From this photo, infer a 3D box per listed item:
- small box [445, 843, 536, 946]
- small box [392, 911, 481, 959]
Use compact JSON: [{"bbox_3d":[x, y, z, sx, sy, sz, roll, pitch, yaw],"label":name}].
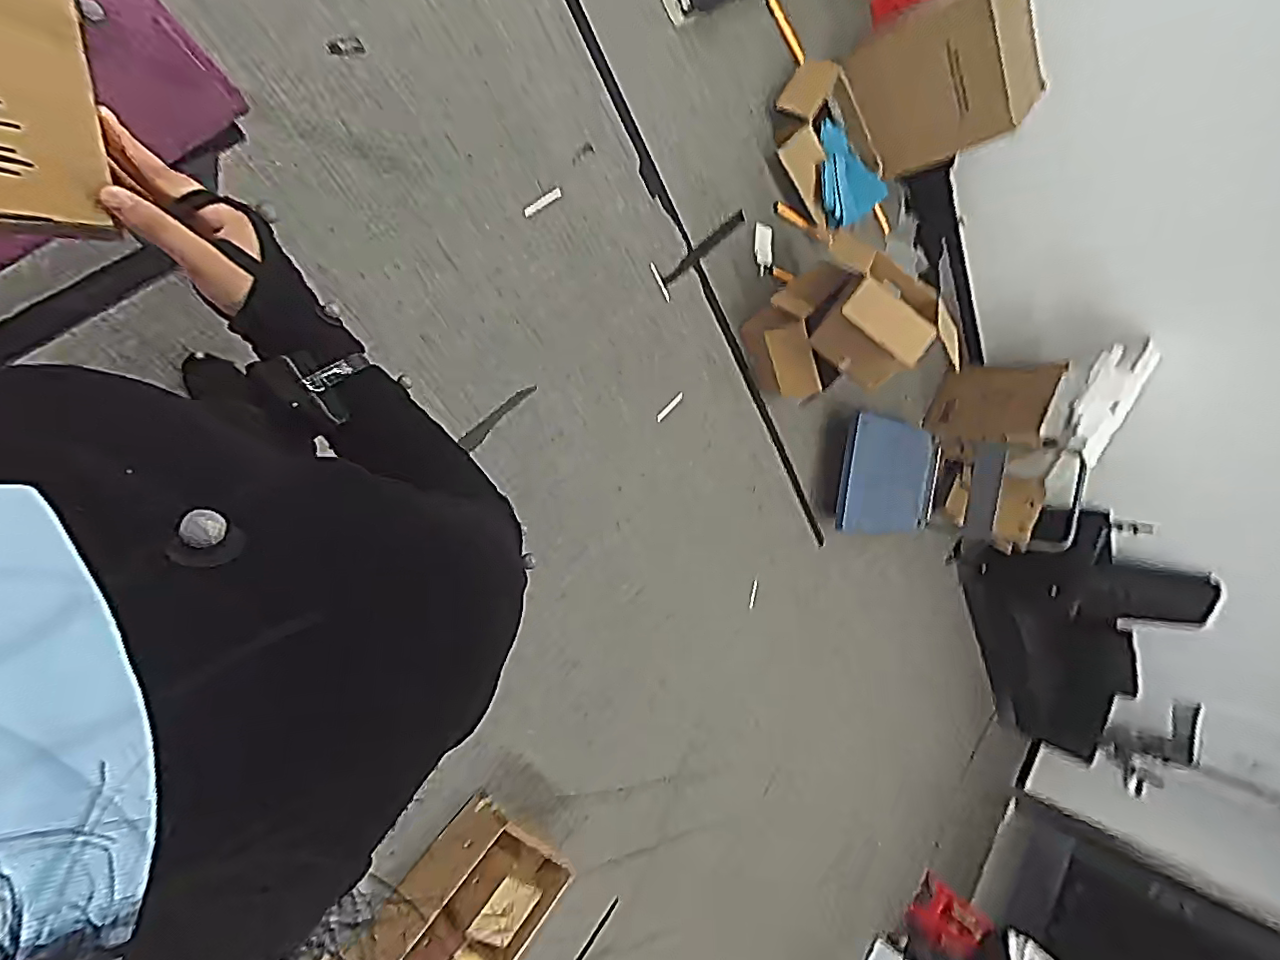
[{"bbox_3d":[-0.460,1.254,1.650,0.168,0.176,0.179,-49,124,-21],"label":"small box"},{"bbox_3d":[-0.586,1.417,1.576,0.168,0.176,0.179,-44,121,-27],"label":"small box"}]
